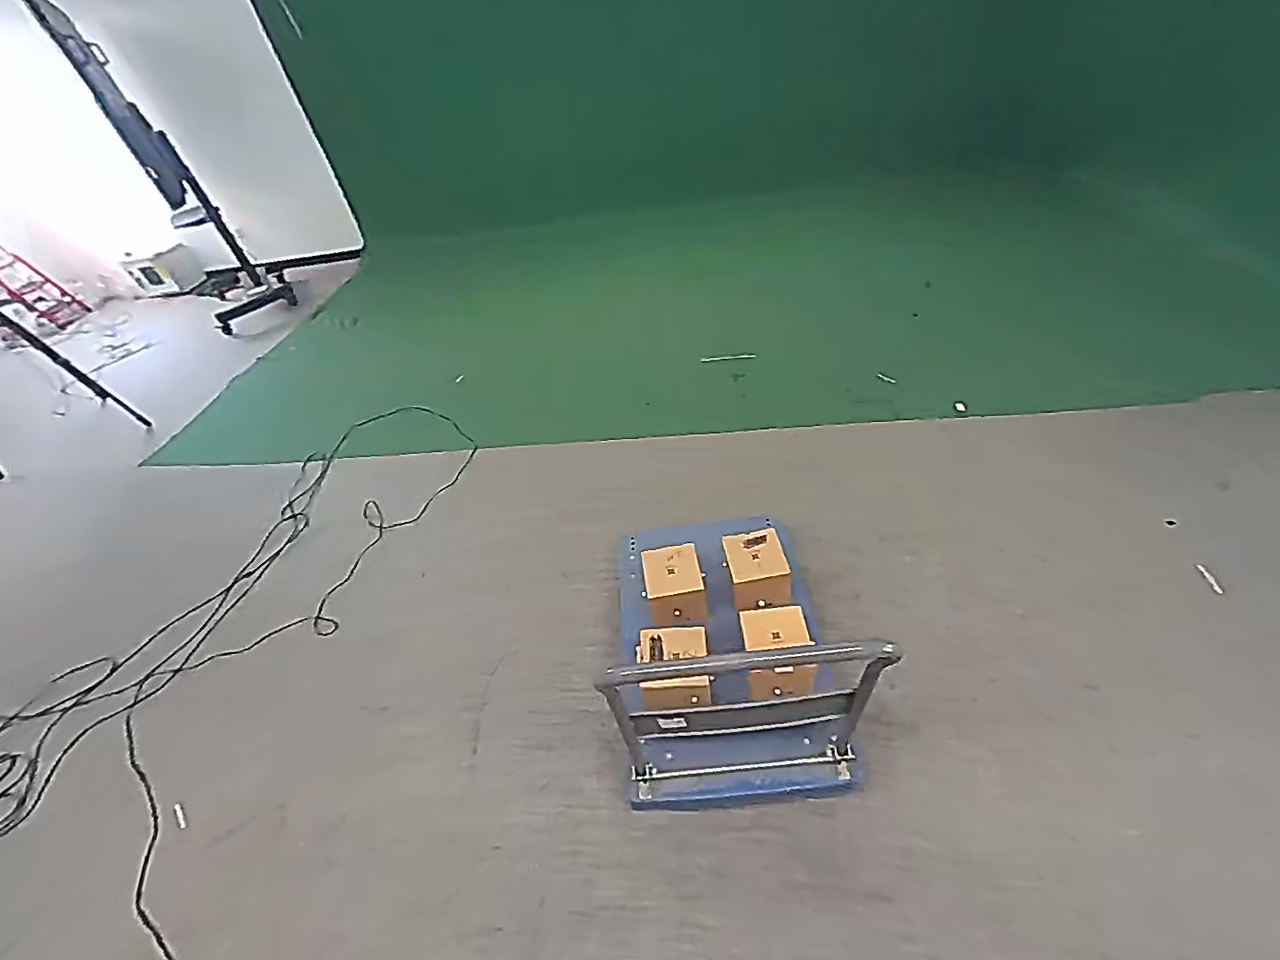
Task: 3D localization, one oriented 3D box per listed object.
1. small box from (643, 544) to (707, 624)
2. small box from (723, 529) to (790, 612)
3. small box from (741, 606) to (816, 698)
[{"bbox_3d":[0.108,0.329,1.671,0.168,0.176,0.179,-10,43,1],"label":"small box"},{"bbox_3d":[0.356,0.282,1.666,0.168,0.176,0.179,-11,44,2],"label":"small box"},{"bbox_3d":[0.369,0.469,1.471,0.168,0.176,0.179,-7,44,4],"label":"small box"}]
